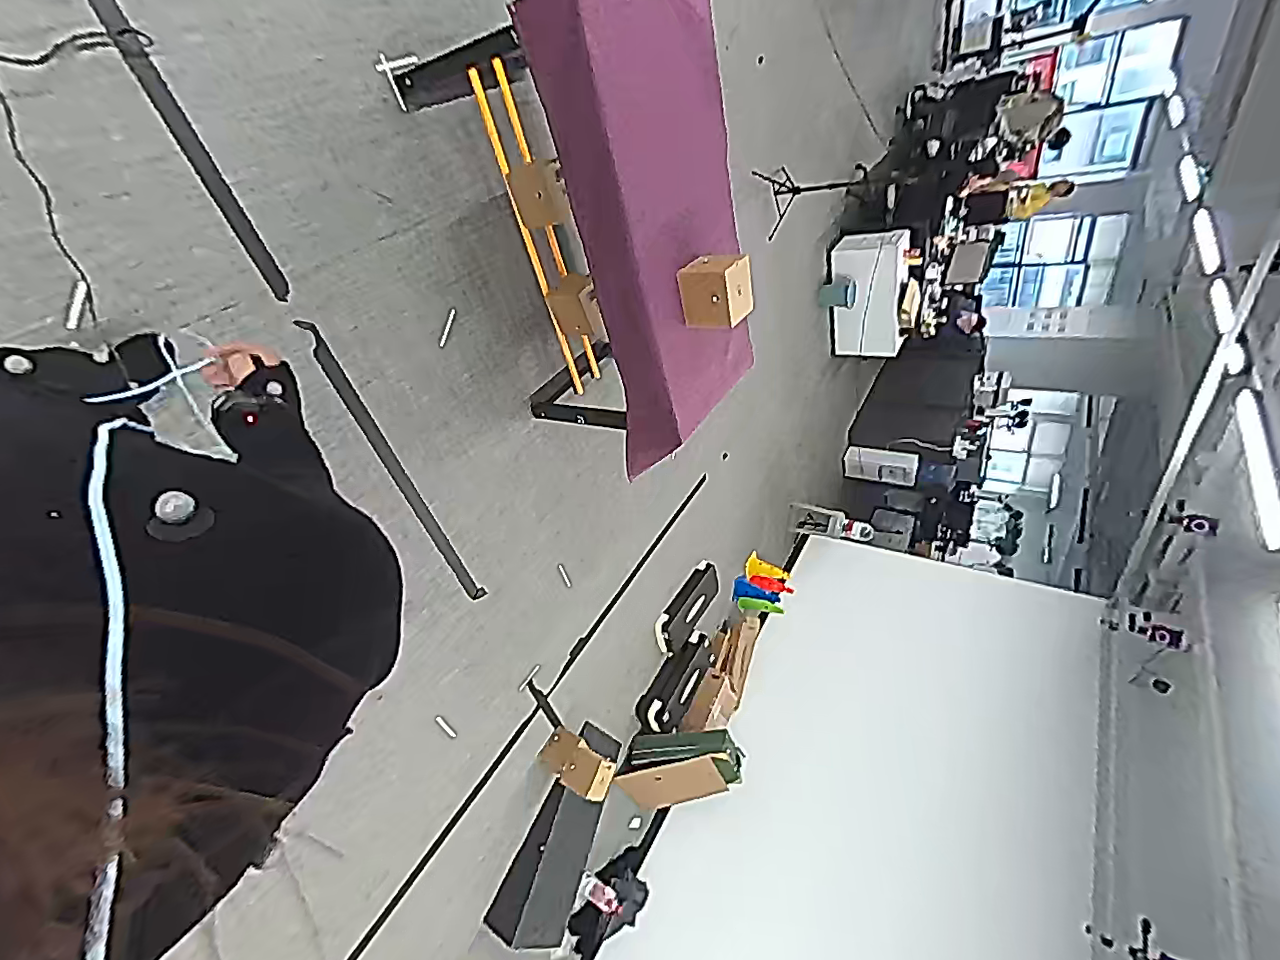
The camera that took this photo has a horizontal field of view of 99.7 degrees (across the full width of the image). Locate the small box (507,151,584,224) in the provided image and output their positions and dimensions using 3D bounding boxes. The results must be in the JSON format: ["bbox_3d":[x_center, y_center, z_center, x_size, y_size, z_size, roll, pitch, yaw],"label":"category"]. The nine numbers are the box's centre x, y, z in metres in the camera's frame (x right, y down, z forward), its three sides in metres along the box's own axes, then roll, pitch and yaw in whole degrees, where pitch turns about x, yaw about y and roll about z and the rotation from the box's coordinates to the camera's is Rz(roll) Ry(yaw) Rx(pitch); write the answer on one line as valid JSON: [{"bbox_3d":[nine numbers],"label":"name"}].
[{"bbox_3d":[-0.325,-1.000,1.857,0.168,0.176,0.179,-52,140,-34],"label":"small box"}]

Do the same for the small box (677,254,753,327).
[{"bbox_3d":[0.238,-0.596,1.701,0.168,0.176,0.179,-47,135,-38],"label":"small box"}]
